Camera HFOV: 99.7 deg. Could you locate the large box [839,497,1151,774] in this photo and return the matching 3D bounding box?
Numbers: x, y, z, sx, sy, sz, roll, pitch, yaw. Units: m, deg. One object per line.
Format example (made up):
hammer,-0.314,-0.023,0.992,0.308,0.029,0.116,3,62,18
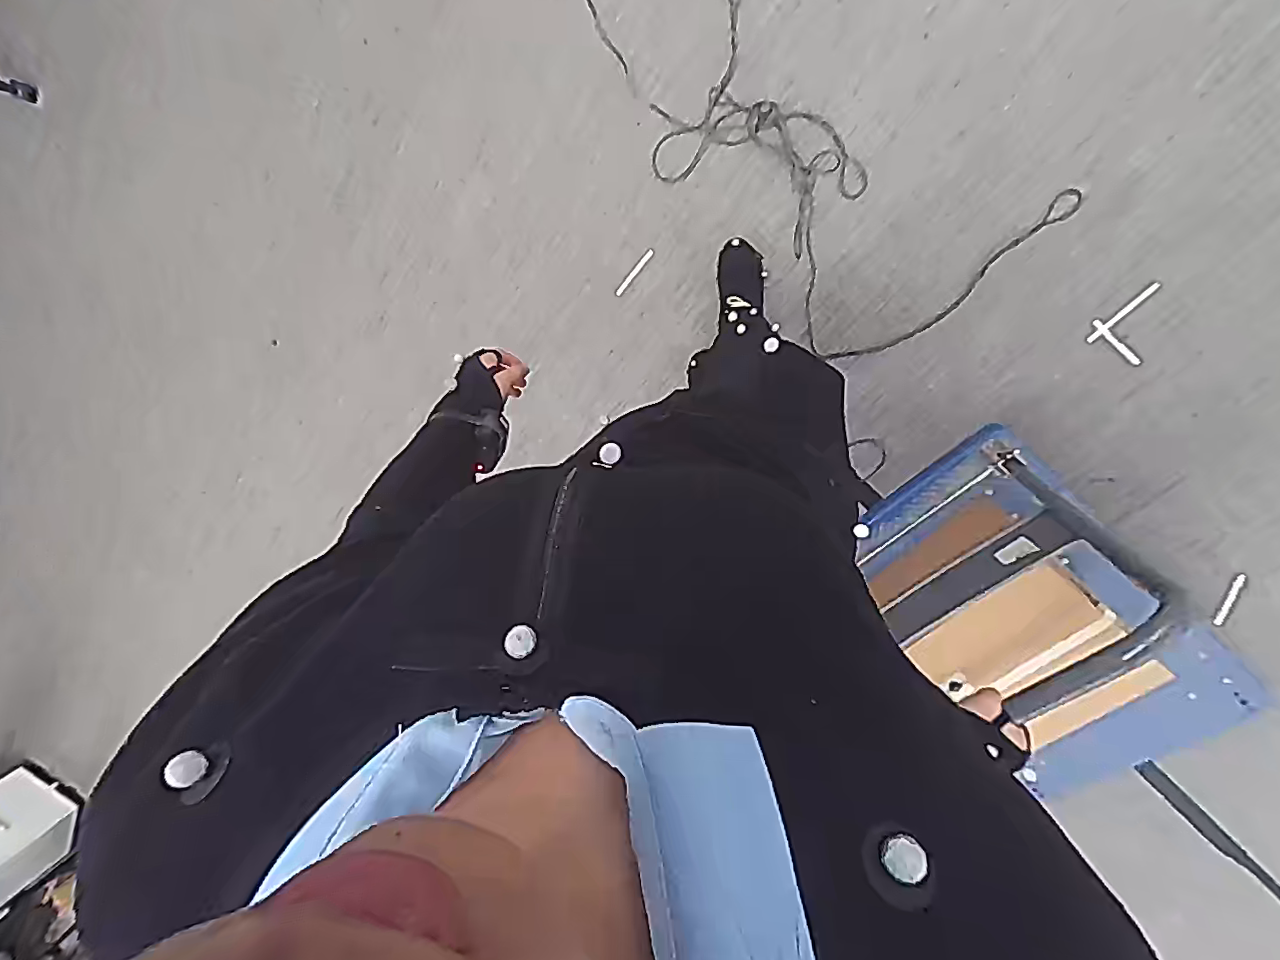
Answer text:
large box,0.690,0.312,1.140,0.320,0.320,0.408,41,115,-1
